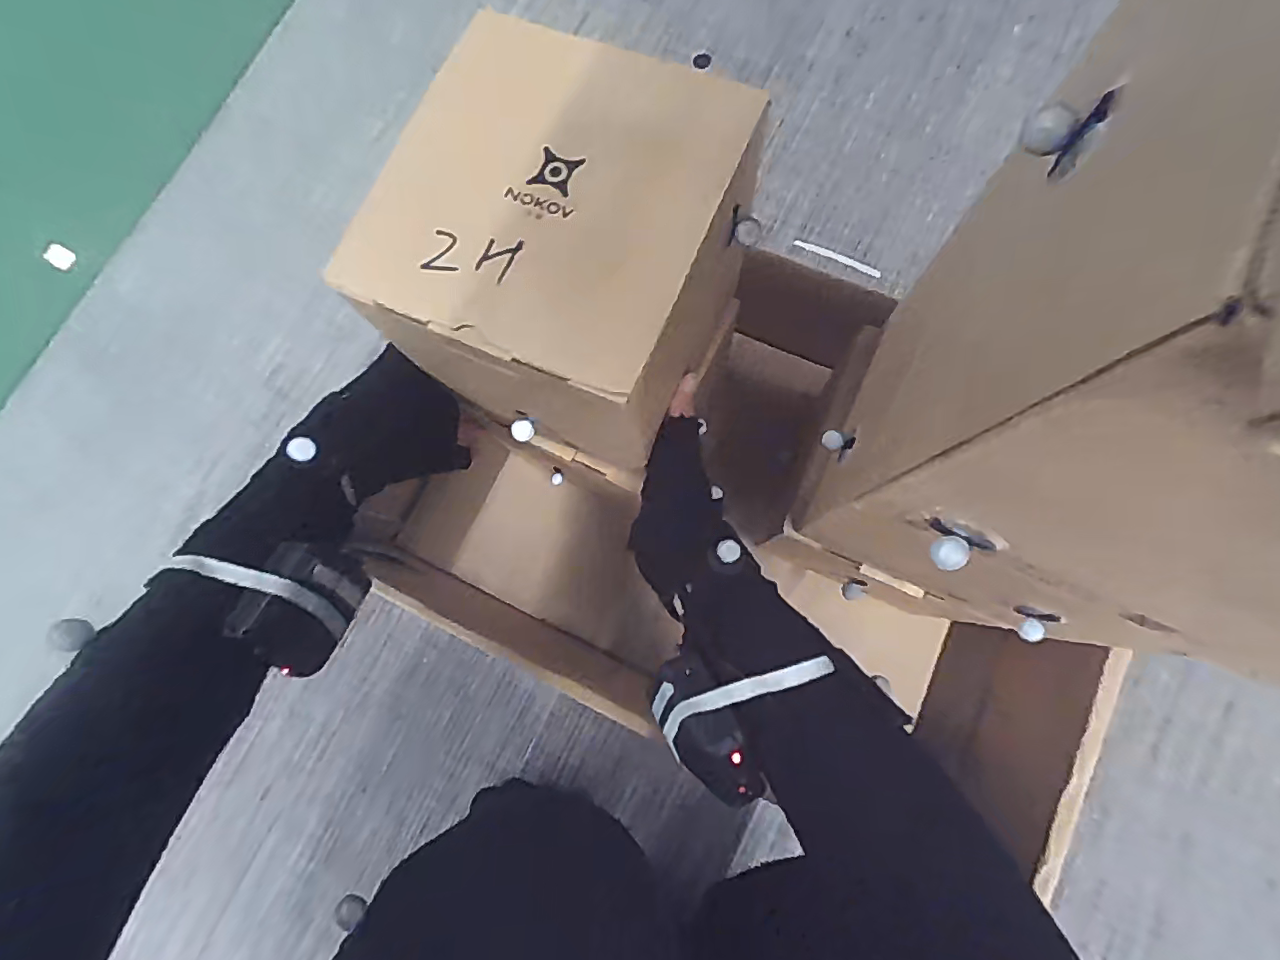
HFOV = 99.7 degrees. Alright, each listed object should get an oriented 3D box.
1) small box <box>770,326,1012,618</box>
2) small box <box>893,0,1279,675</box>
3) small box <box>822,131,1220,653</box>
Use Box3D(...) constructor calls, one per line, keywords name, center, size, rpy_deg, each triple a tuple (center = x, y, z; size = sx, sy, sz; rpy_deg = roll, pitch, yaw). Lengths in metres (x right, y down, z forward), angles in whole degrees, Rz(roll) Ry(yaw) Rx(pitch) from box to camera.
Box3D(name="small box", center=(0.219, 0.003, 0.465), size=(0.168, 0.176, 0.179), rpy_deg=(20, 82, 10))
Box3D(name="small box", center=(0.194, -0.047, 0.142), size=(0.168, 0.176, 0.179), rpy_deg=(25, 83, 9))
Box3D(name="small box", center=(0.213, -0.026, 0.286), size=(0.168, 0.176, 0.179), rpy_deg=(24, 83, 10))
